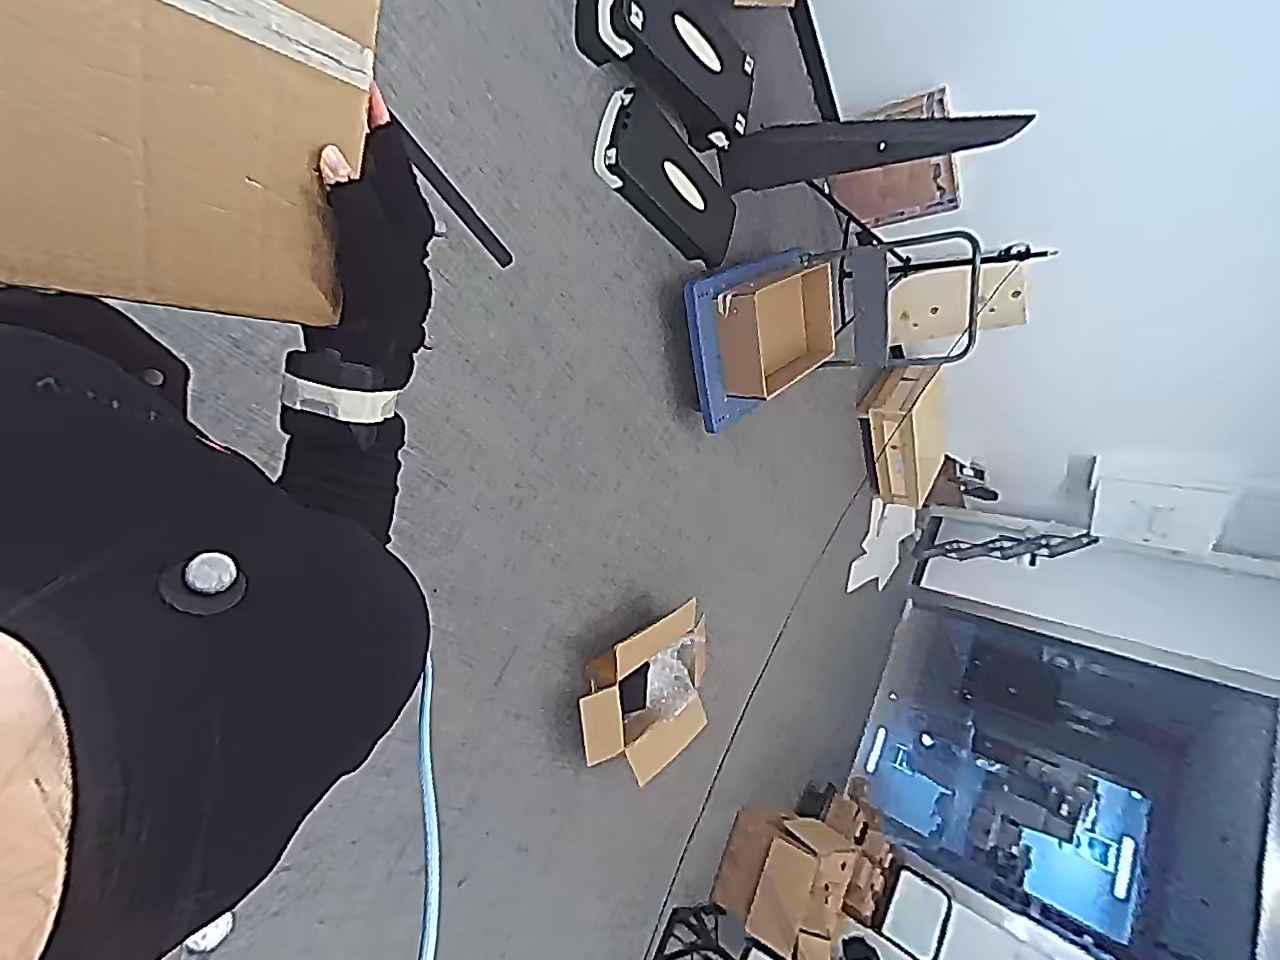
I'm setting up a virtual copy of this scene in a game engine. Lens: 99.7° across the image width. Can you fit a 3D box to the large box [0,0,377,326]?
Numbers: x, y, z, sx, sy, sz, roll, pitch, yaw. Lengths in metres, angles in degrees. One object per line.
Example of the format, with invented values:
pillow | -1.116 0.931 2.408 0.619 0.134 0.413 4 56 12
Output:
large box | -0.401 -0.302 0.273 0.408 0.320 0.320 -4 125 -46
